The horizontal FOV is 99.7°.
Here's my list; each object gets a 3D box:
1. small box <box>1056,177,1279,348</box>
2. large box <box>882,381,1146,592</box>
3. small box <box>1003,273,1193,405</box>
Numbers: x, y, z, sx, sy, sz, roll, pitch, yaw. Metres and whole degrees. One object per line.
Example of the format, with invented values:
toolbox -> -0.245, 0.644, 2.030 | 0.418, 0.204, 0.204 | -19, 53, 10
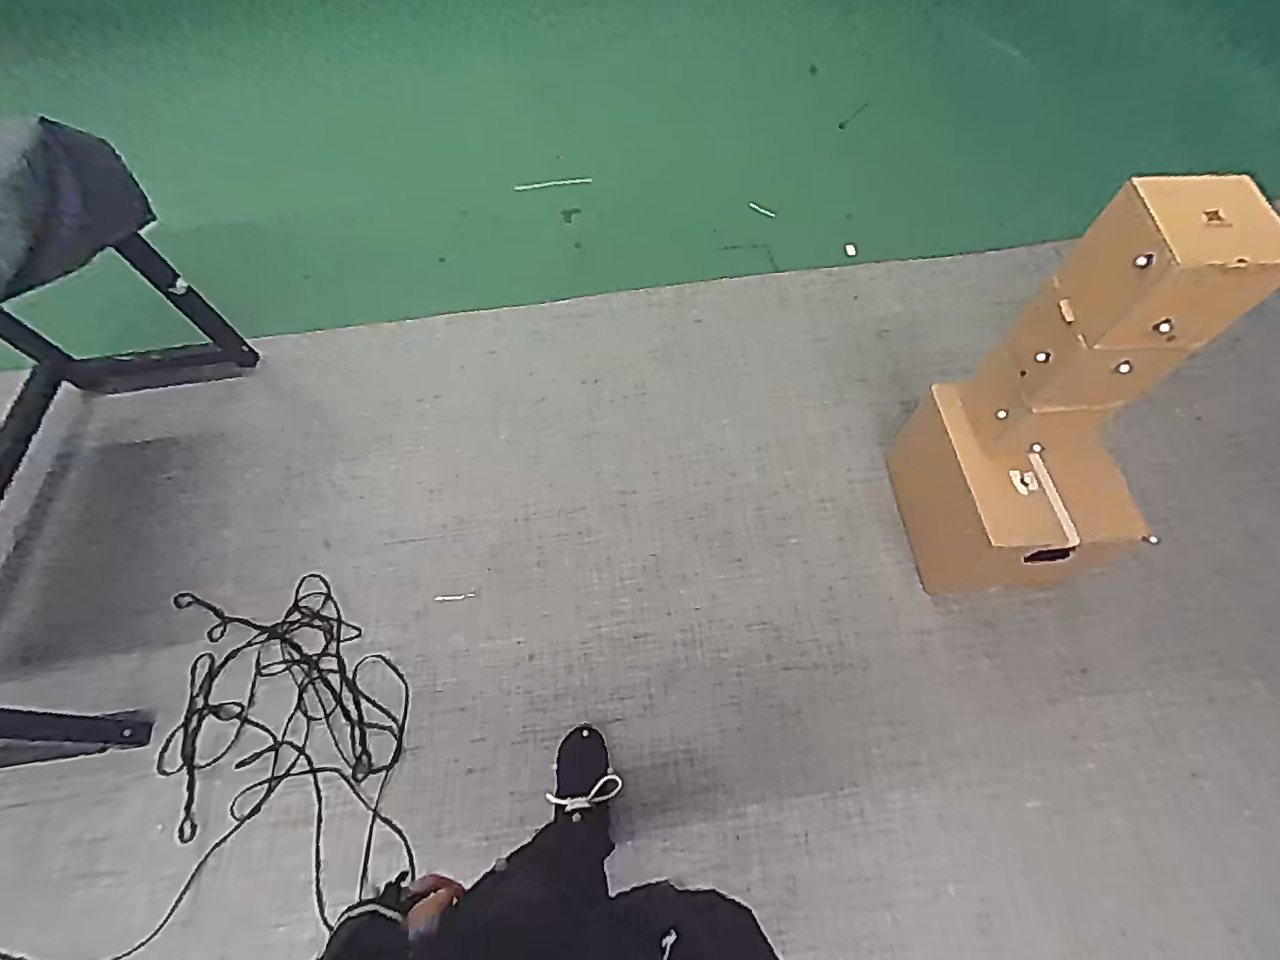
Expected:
small box -> 0.774, -0.320, 0.807 | 0.168, 0.176, 0.179 | 0, 64, 2
large box -> 0.823, 0.019, 1.270 | 0.320, 0.320, 0.408 | -5, 63, 1
small box -> 0.780, -0.244, 0.951 | 0.179, 0.176, 0.168 | -1, 64, 1
